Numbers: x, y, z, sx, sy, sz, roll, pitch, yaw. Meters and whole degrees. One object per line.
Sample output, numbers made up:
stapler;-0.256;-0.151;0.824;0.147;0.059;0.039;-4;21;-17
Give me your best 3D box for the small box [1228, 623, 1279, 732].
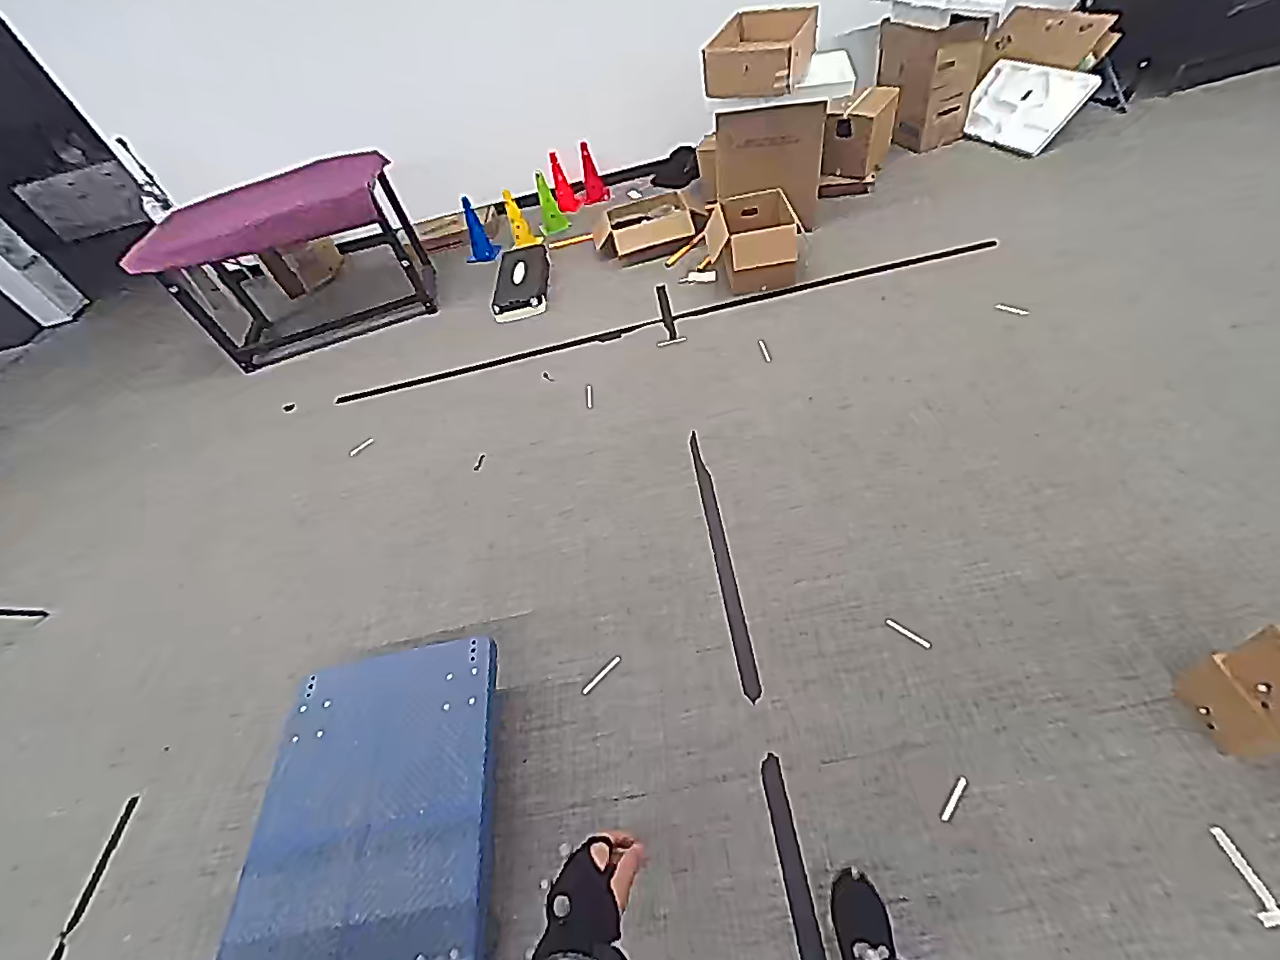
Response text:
small box;1.309;0.376;1.024;0.179;0.176;0.168;-9;47;8
